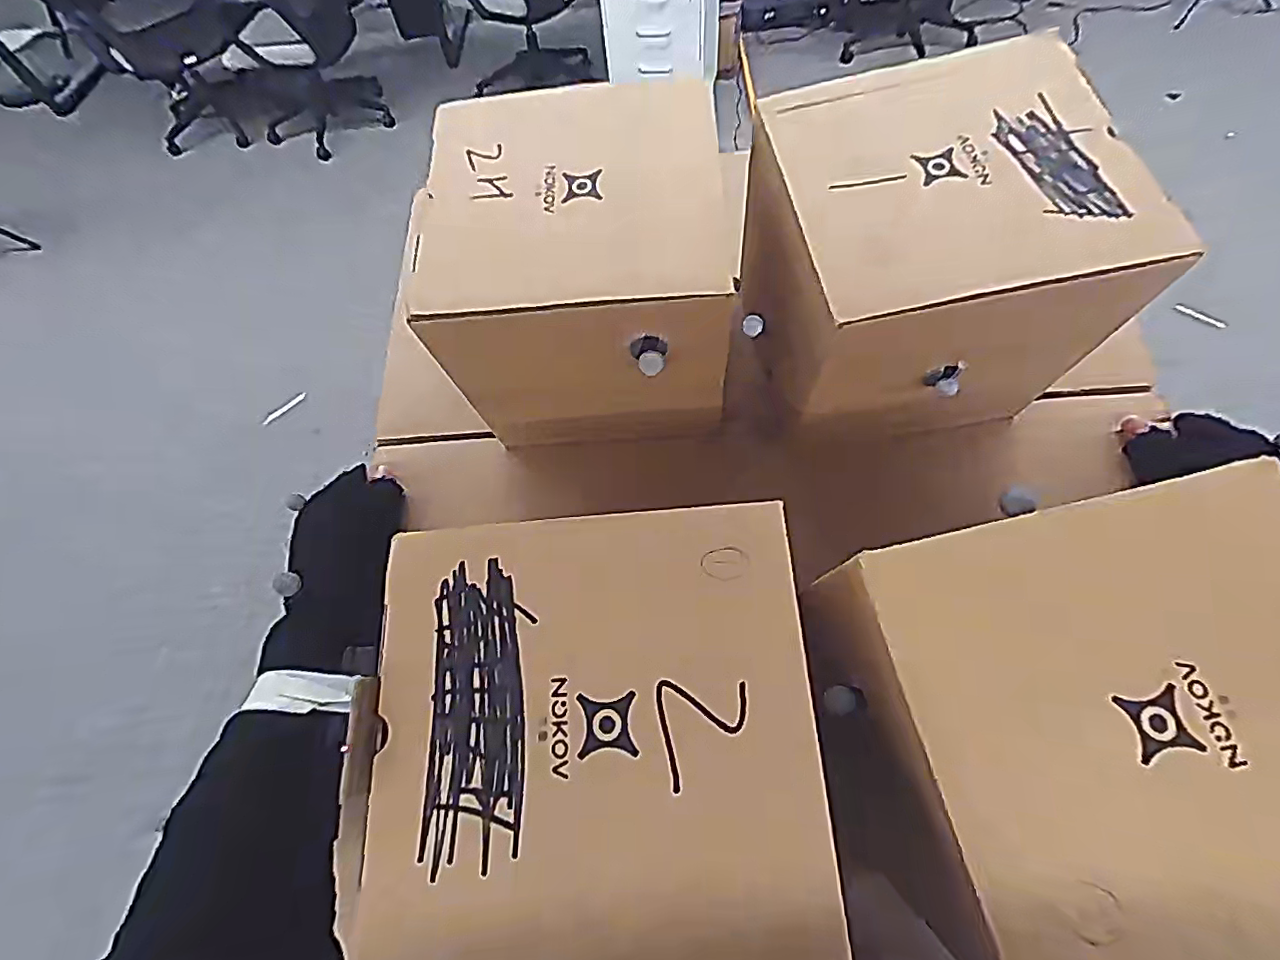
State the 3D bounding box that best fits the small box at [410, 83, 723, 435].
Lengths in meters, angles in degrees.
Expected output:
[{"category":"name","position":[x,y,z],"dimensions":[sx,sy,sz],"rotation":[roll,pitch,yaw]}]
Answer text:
[{"category":"small box","position":[-0.035,-0.143,0.396],"dimensions":[0.179,0.176,0.168],"rotation":[-3,69,6]}]
